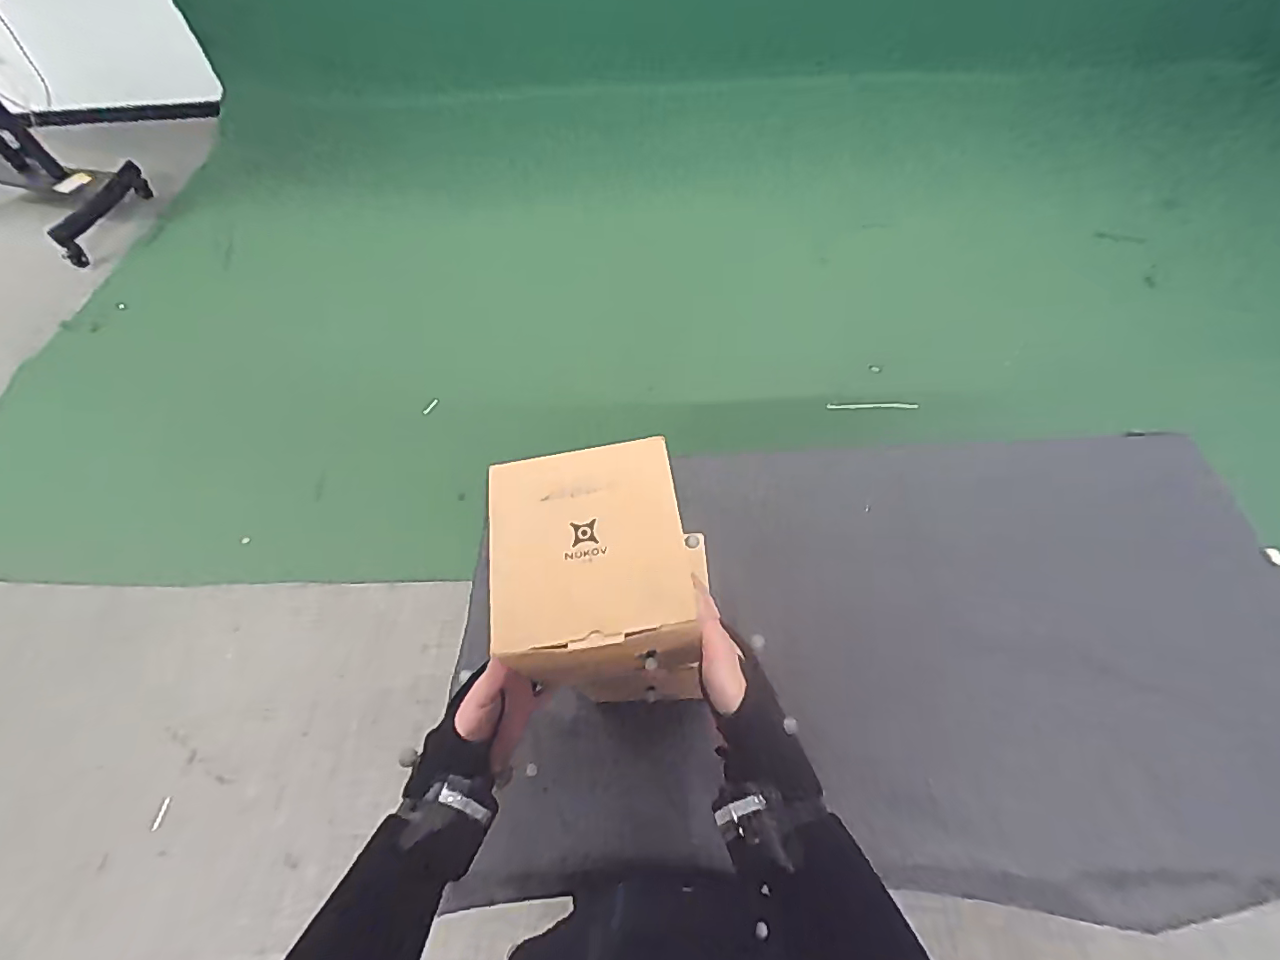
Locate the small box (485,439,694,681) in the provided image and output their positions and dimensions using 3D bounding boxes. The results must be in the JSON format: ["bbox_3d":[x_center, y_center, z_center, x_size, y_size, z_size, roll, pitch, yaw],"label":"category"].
[{"bbox_3d":[-0.042,0.088,0.522,0.168,0.176,0.179,-10,61,0],"label":"small box"}]

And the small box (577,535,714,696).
[{"bbox_3d":[0.007,0.191,0.735,0.168,0.176,0.179,-3,58,0],"label":"small box"}]
